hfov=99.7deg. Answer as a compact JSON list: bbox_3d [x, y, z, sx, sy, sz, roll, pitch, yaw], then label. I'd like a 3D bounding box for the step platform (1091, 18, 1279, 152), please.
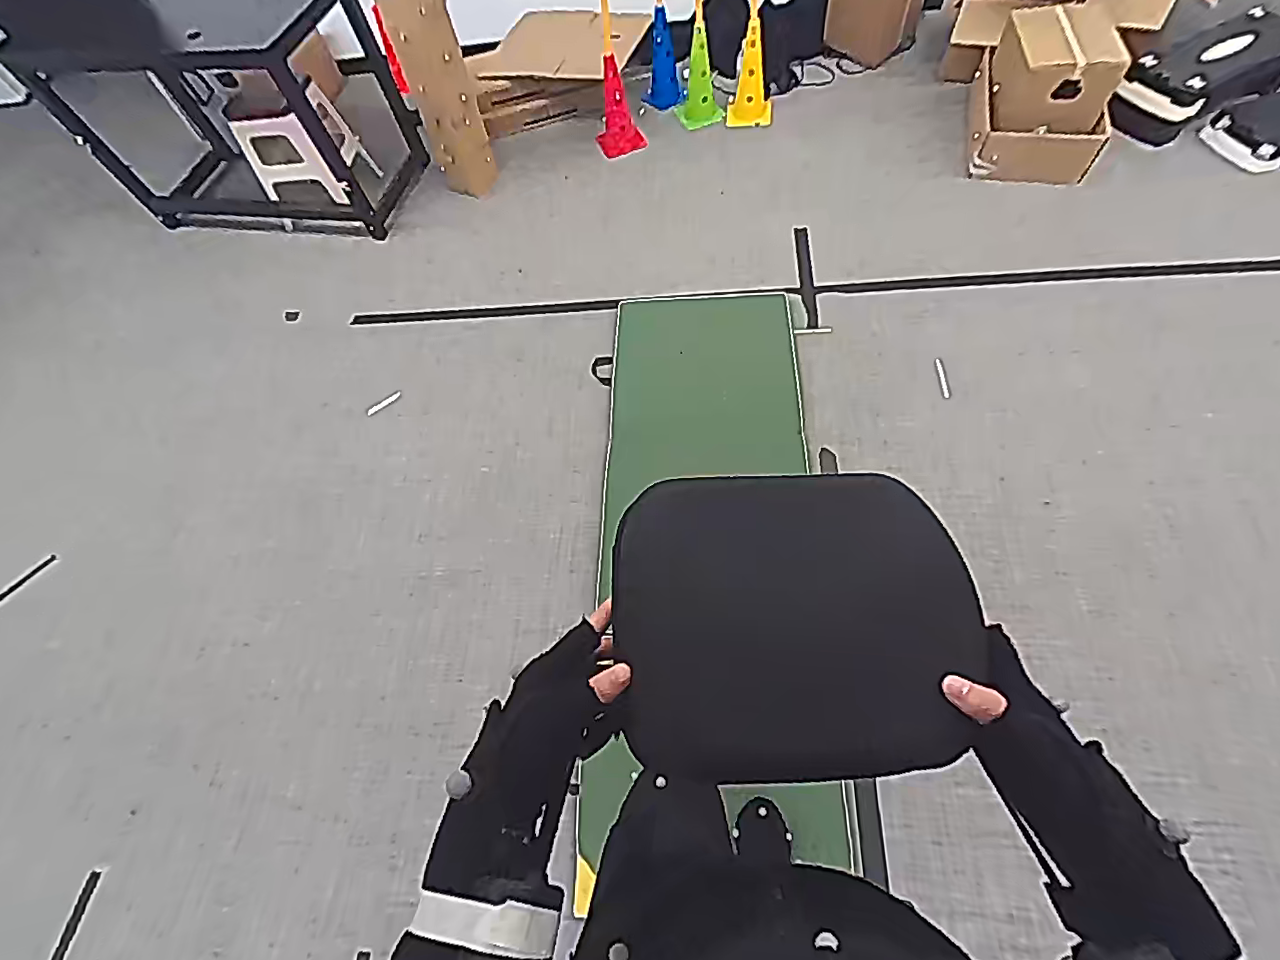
[{"bbox_3d":[2.196,-1.565,2.137,0.684,0.204,0.286,-27,63,-7],"label":"step platform"}]
